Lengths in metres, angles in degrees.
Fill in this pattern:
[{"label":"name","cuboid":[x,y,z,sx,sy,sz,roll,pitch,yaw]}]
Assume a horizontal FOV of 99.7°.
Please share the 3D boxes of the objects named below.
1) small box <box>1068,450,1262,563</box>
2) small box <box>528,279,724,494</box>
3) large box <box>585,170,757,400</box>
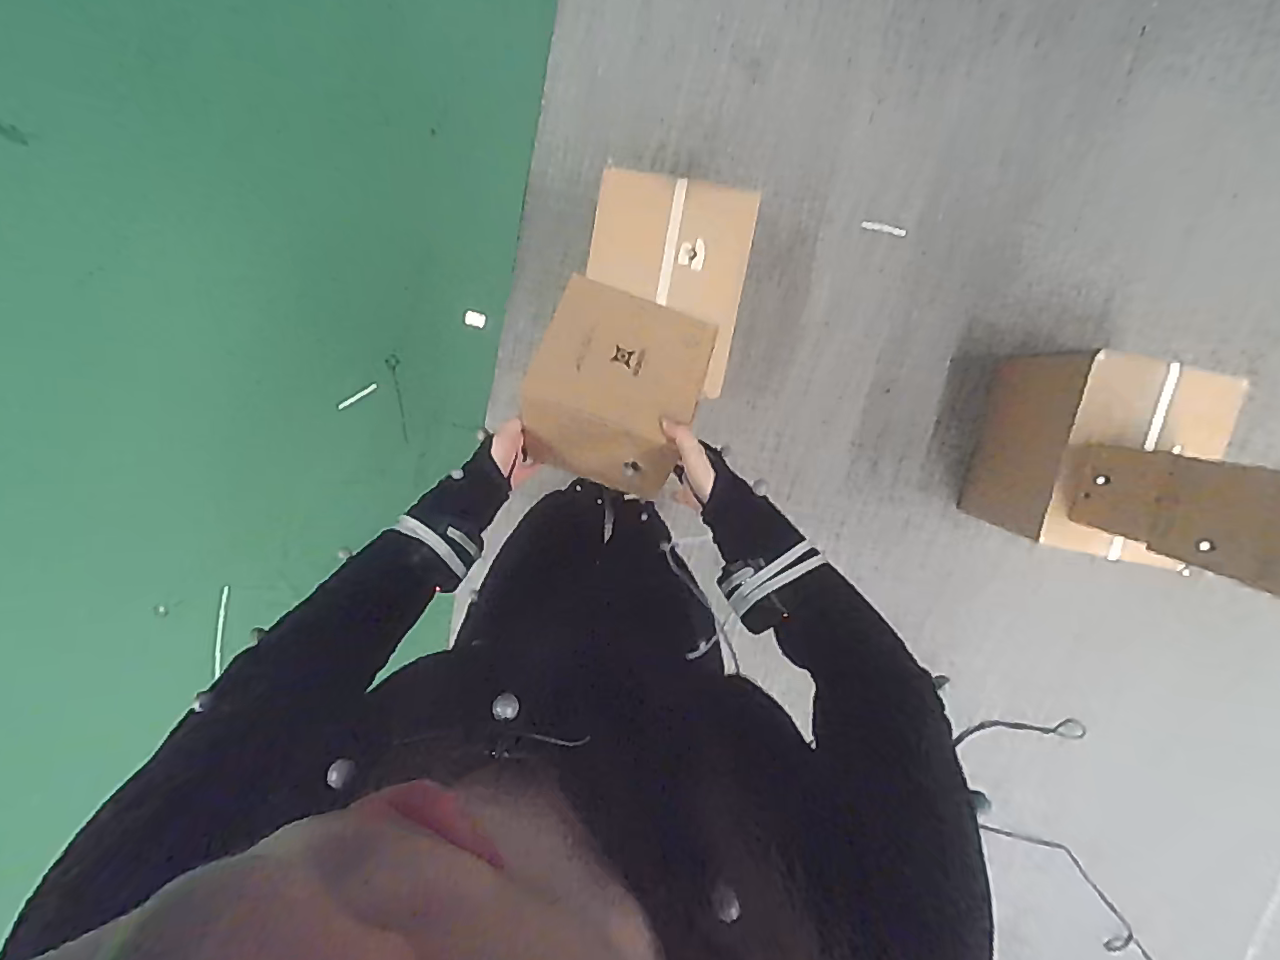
[{"label":"small box","cuboid":[0.979,0.042,1.026,0.179,0.176,0.168,10,100,1]},{"label":"small box","cuboid":[-0.022,-0.099,0.652,0.179,0.176,0.168,20,66,-2]},{"label":"large box","cuboid":[0.050,-0.402,1.220,0.320,0.320,0.408,11,99,0]}]
